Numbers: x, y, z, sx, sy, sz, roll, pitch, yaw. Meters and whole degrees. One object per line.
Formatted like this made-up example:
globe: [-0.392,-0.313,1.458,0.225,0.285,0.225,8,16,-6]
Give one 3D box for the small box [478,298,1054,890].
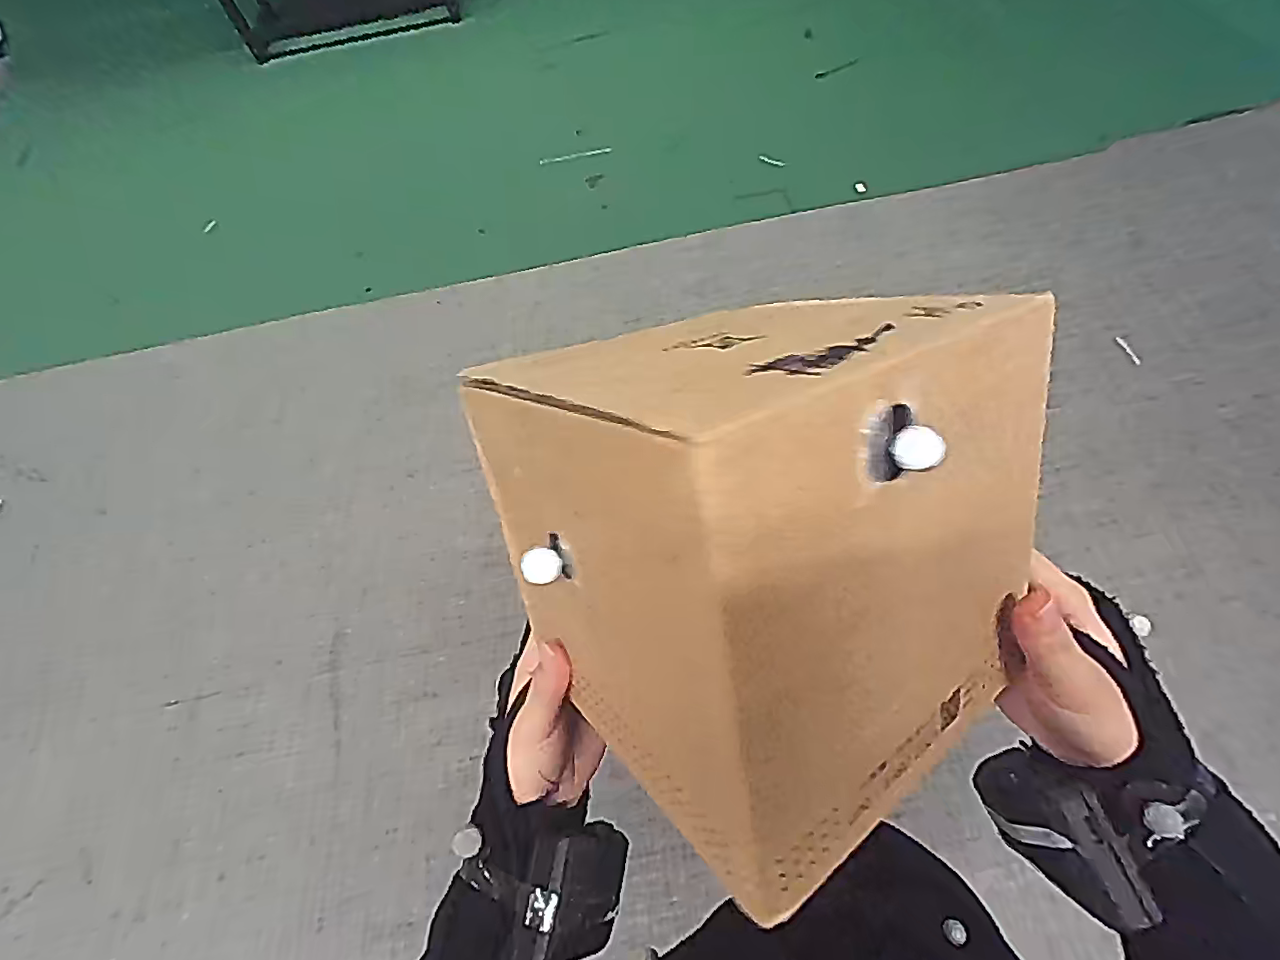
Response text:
small box: [0.049,0.024,0.251,0.168,0.176,0.179,-25,25,-27]
